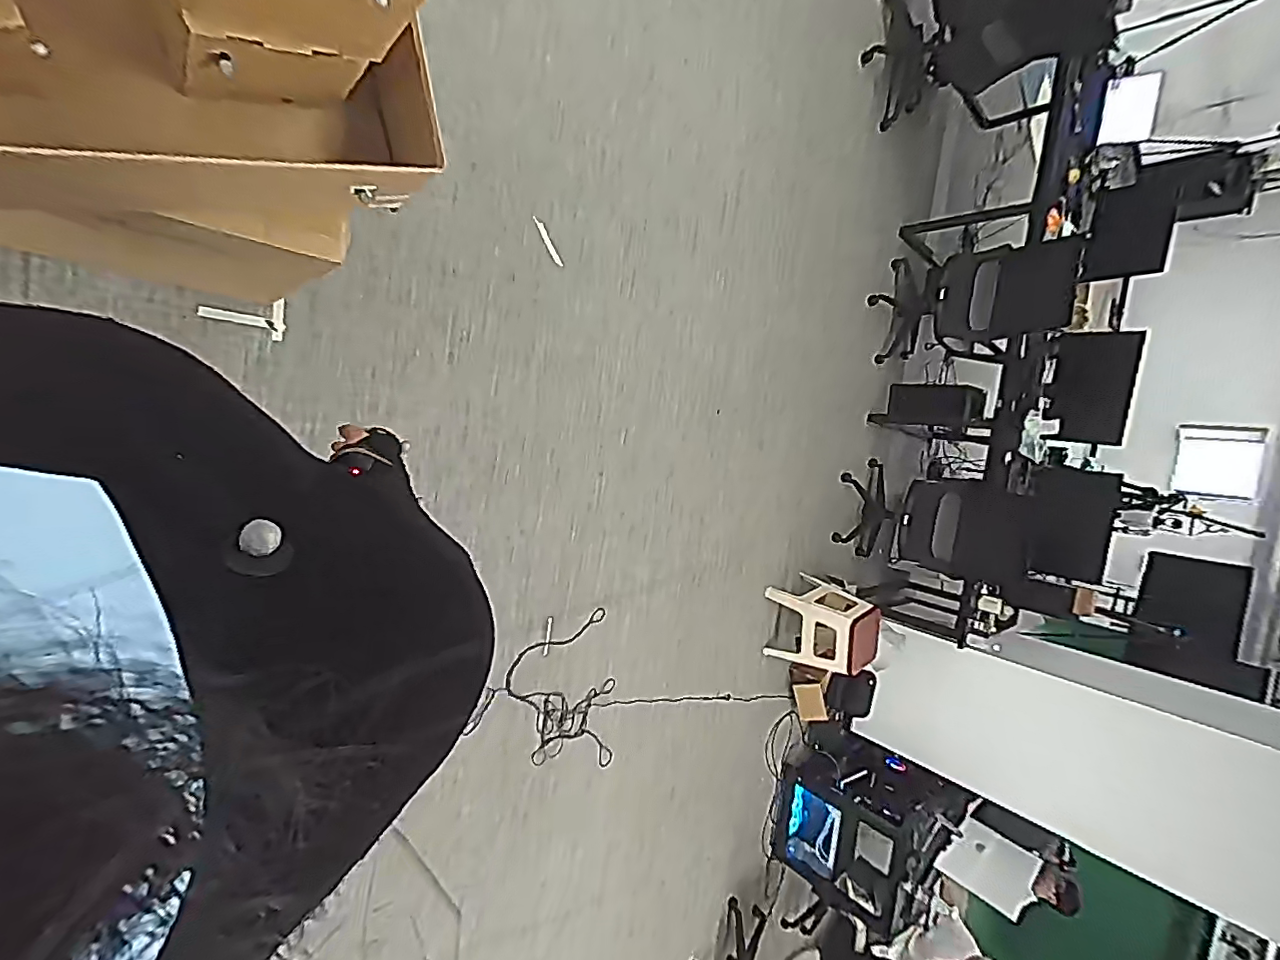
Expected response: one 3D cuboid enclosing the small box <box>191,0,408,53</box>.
[{"bbox_3d":[-0.306,-0.515,0.470,0.179,0.176,0.168,-17,110,-40],"label":"small box"}]
